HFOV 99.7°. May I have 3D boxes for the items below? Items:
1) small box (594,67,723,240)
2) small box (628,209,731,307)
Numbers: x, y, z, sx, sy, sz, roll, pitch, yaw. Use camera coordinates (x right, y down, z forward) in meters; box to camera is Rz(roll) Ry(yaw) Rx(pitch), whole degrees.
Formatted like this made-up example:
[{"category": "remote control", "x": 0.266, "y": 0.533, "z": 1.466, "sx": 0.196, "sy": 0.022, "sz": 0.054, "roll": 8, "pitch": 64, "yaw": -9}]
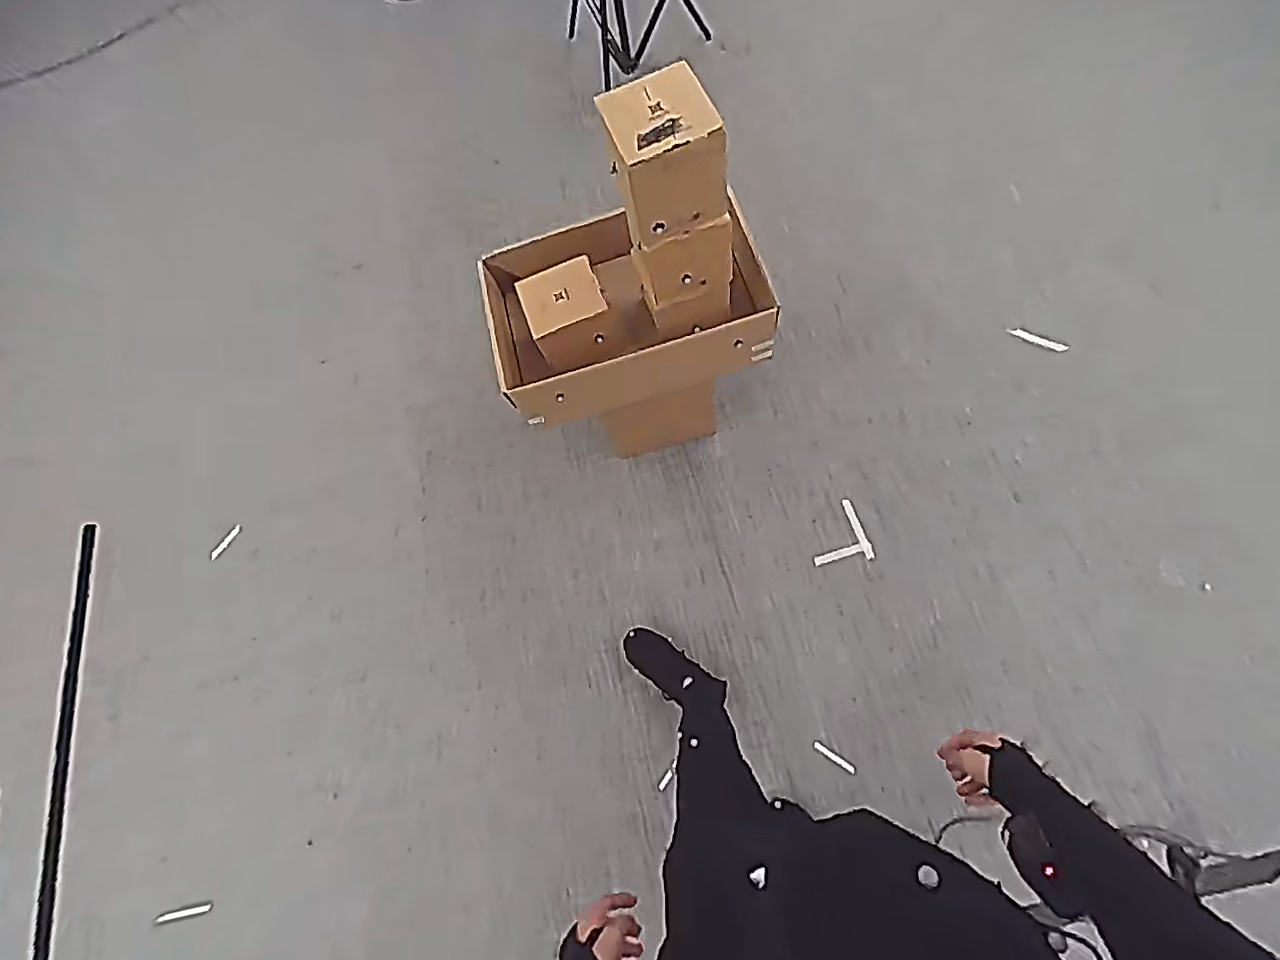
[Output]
[{"category": "small box", "x": 0.039, "y": -0.546, "z": 0.931, "sx": 0.168, "sy": 0.176, "sz": 0.179, "roll": -22, "pitch": 69, "yaw": 1}, {"category": "small box", "x": 0.074, "y": -0.484, "z": 1.080, "sx": 0.168, "sy": 0.176, "sz": 0.179, "roll": -19, "pitch": 70, "yaw": 2}]
